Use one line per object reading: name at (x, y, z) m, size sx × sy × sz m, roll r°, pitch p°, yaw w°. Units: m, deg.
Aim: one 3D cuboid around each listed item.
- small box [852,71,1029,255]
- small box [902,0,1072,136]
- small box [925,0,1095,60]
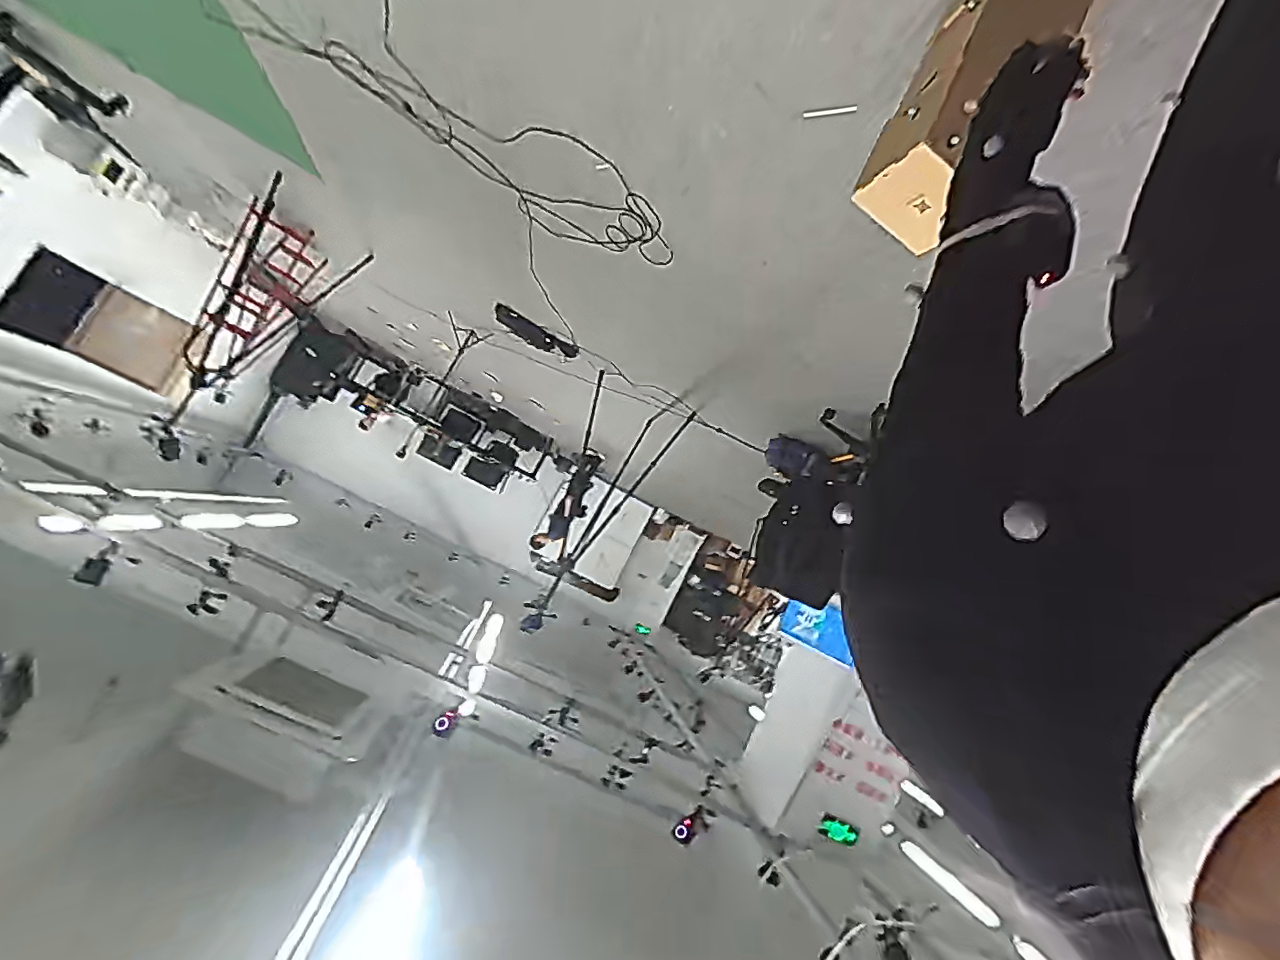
small box at (0.506, -0.527, 0.914) m, size 0.179 × 0.176 × 0.168 m, roll 30°, pitch 171°, yaw -16°
small box at (0.583, -0.669, 0.929) m, size 0.179 × 0.176 × 0.168 m, roll 28°, pitch 172°, yaw -11°
small box at (0.654, -0.819, 0.948) m, size 0.179 × 0.176 × 0.168 m, roll 30°, pitch 174°, yaw -7°
